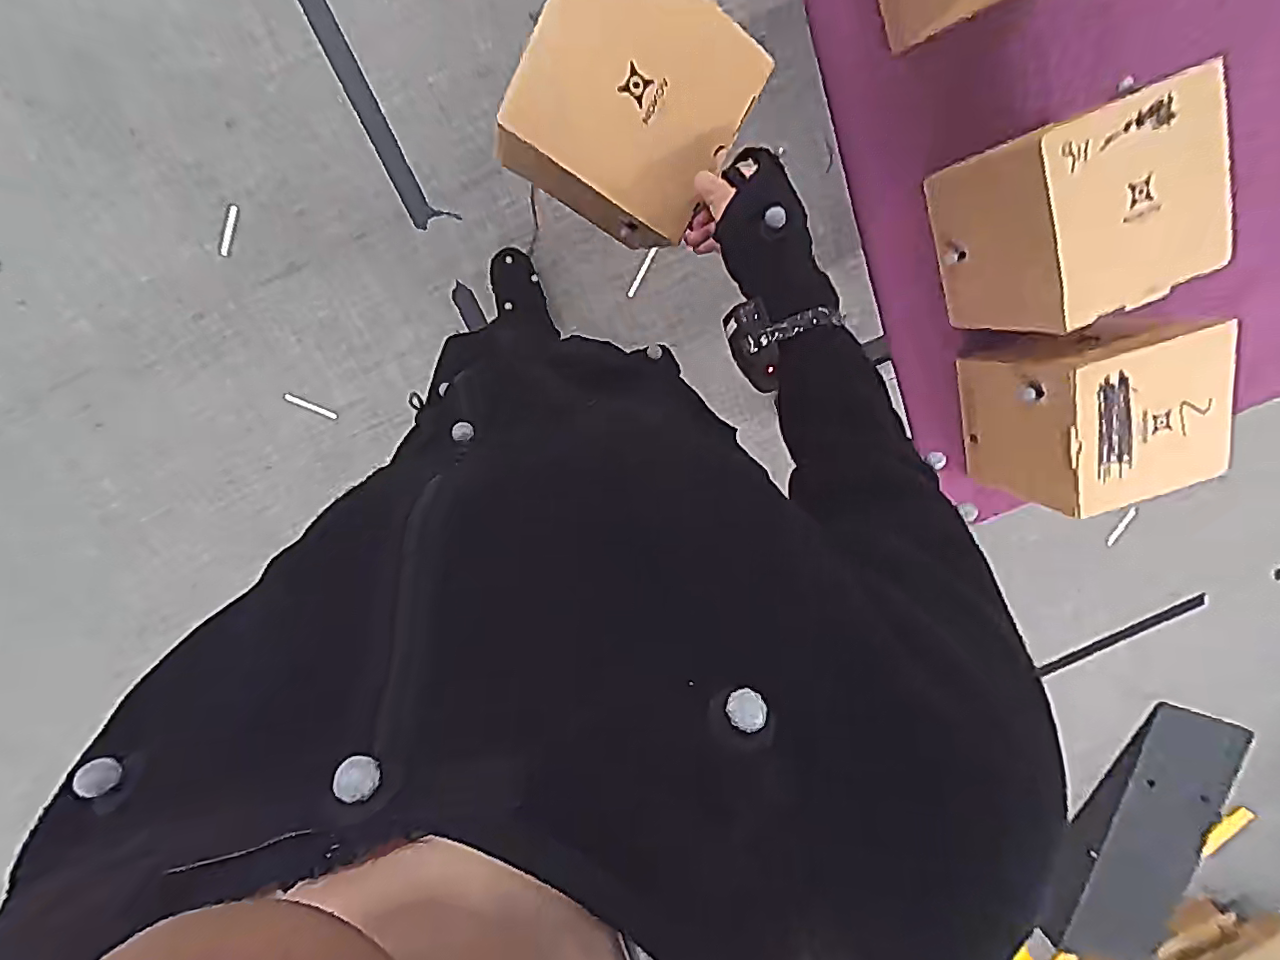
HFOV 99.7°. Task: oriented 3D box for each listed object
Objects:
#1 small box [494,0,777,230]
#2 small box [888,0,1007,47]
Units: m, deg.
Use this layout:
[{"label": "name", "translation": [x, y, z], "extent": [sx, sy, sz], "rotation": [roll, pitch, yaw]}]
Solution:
[{"label": "small box", "translation": [-0.020, -0.345, 0.490], "extent": [0.179, 0.176, 0.168], "rotation": [24, 103, -25]}, {"label": "small box", "translation": [0.319, -0.523, 0.459], "extent": [0.179, 0.176, 0.168], "rotation": [-26, 109, 1]}]
